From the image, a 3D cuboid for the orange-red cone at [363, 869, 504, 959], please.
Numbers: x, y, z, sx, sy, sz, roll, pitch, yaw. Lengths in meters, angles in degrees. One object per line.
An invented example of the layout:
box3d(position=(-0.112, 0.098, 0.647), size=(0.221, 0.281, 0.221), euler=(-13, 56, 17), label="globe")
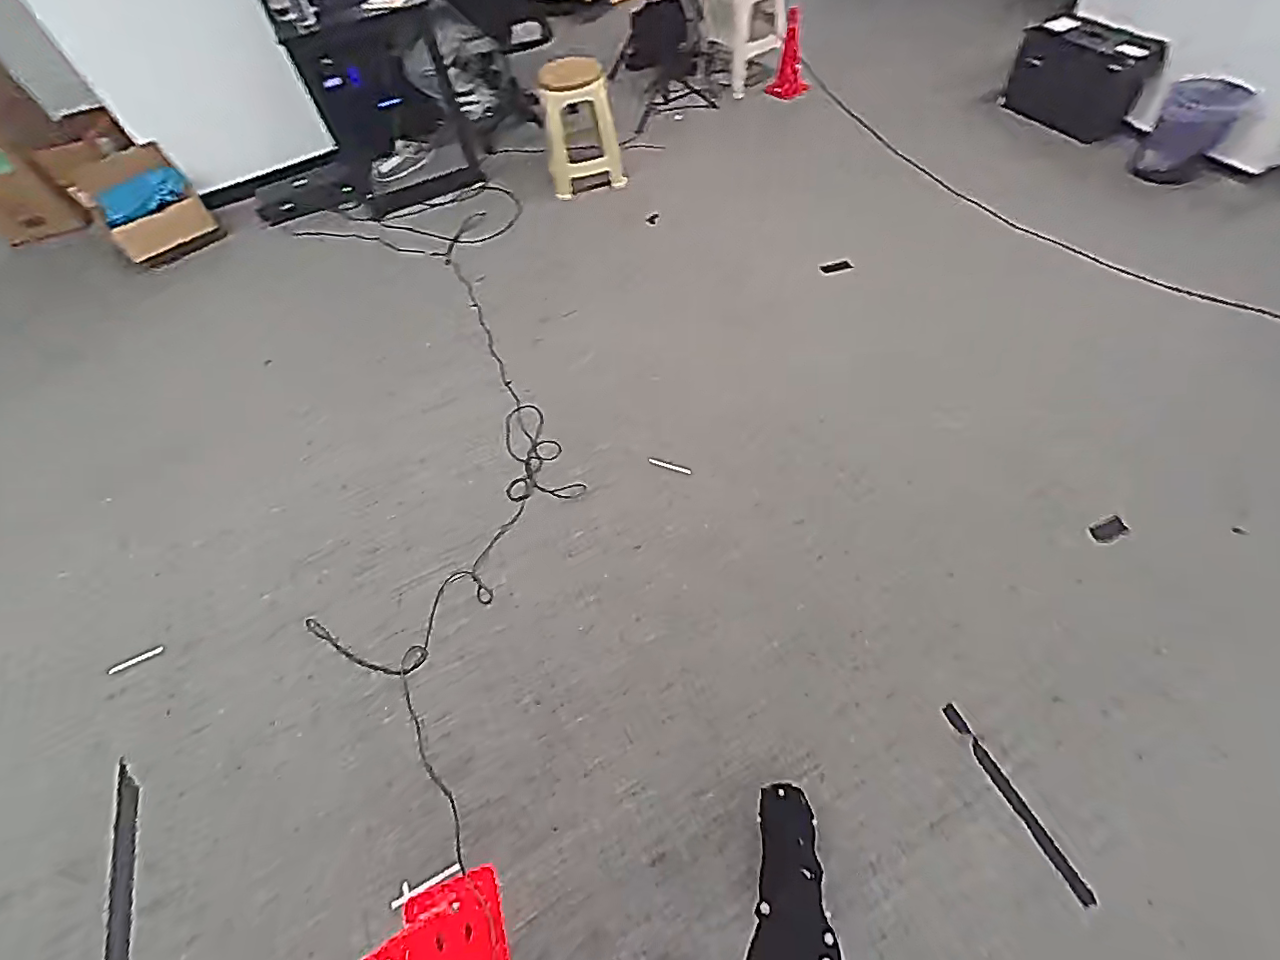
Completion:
box3d(position=(-0.397, 0.838, 0.953), size=(0.198, 0.360, 0.199), euler=(-19, 57, -5), label="orange-red cone")
